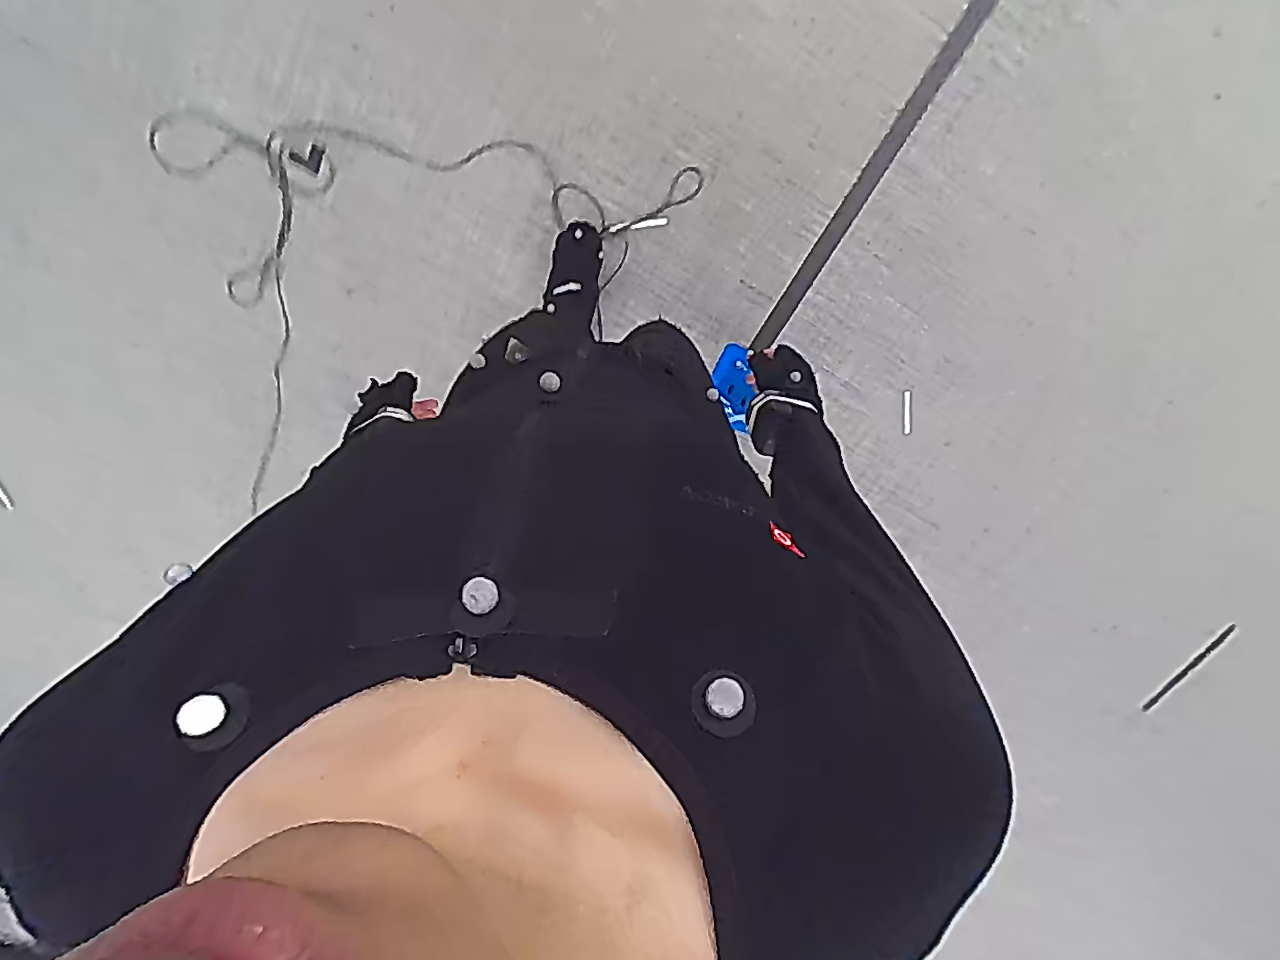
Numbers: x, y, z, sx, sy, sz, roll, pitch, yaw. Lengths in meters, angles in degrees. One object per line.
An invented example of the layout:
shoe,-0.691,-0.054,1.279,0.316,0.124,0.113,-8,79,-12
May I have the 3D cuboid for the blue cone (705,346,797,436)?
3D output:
blue cone,0.287,-0.178,1.269,0.192,0.380,0.193,24,109,-11
